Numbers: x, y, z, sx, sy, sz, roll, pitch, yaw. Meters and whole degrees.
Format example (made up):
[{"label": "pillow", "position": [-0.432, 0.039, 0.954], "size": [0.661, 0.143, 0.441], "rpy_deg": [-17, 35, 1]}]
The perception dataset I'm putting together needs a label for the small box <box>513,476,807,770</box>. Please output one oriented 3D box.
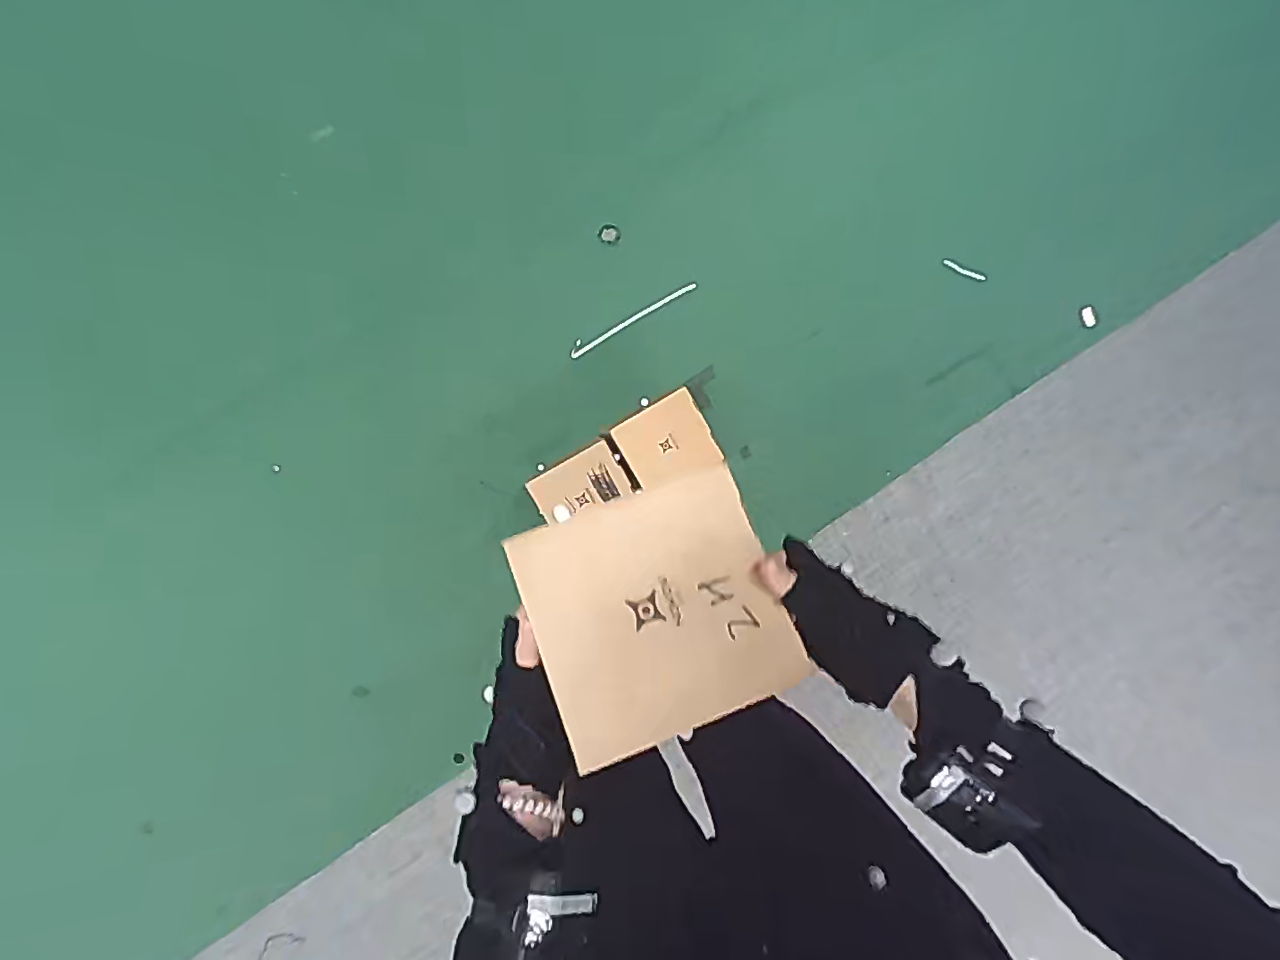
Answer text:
[{"label": "small box", "position": [0.009, 0.117, 0.468], "size": [0.179, 0.176, 0.168], "rpy_deg": [-19, 78, -8]}]
